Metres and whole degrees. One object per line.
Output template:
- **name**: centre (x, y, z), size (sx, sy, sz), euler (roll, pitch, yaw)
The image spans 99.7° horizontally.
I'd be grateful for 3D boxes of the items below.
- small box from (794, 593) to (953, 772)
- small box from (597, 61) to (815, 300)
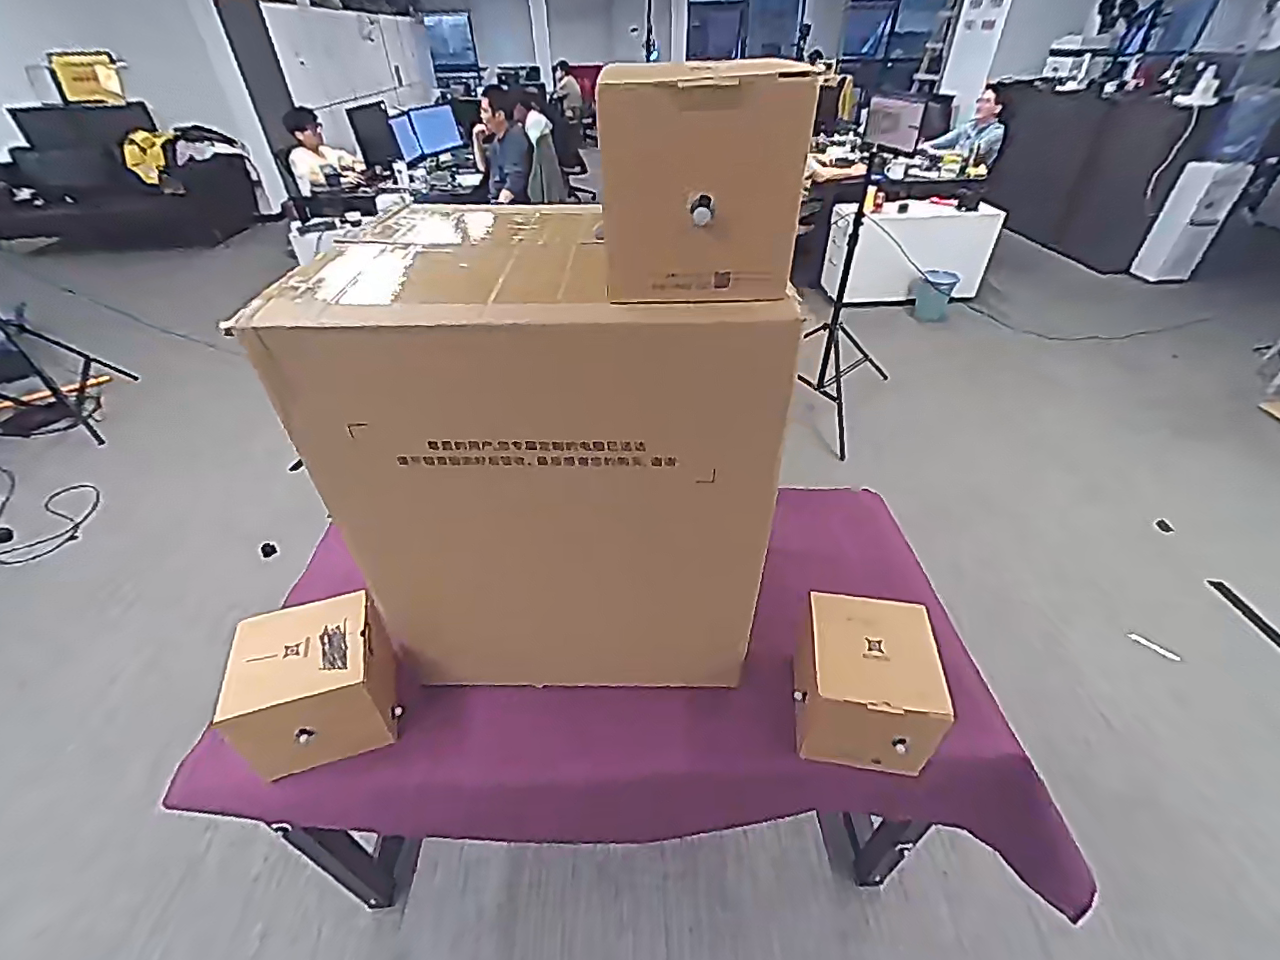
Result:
- **small box**: centre (0.323, 0.294, 0.788), size (0.168, 0.176, 0.179), euler (6, 38, 8)
- **small box**: centre (0.053, -0.281, 0.513), size (0.168, 0.176, 0.179), euler (-1, 41, 1)
